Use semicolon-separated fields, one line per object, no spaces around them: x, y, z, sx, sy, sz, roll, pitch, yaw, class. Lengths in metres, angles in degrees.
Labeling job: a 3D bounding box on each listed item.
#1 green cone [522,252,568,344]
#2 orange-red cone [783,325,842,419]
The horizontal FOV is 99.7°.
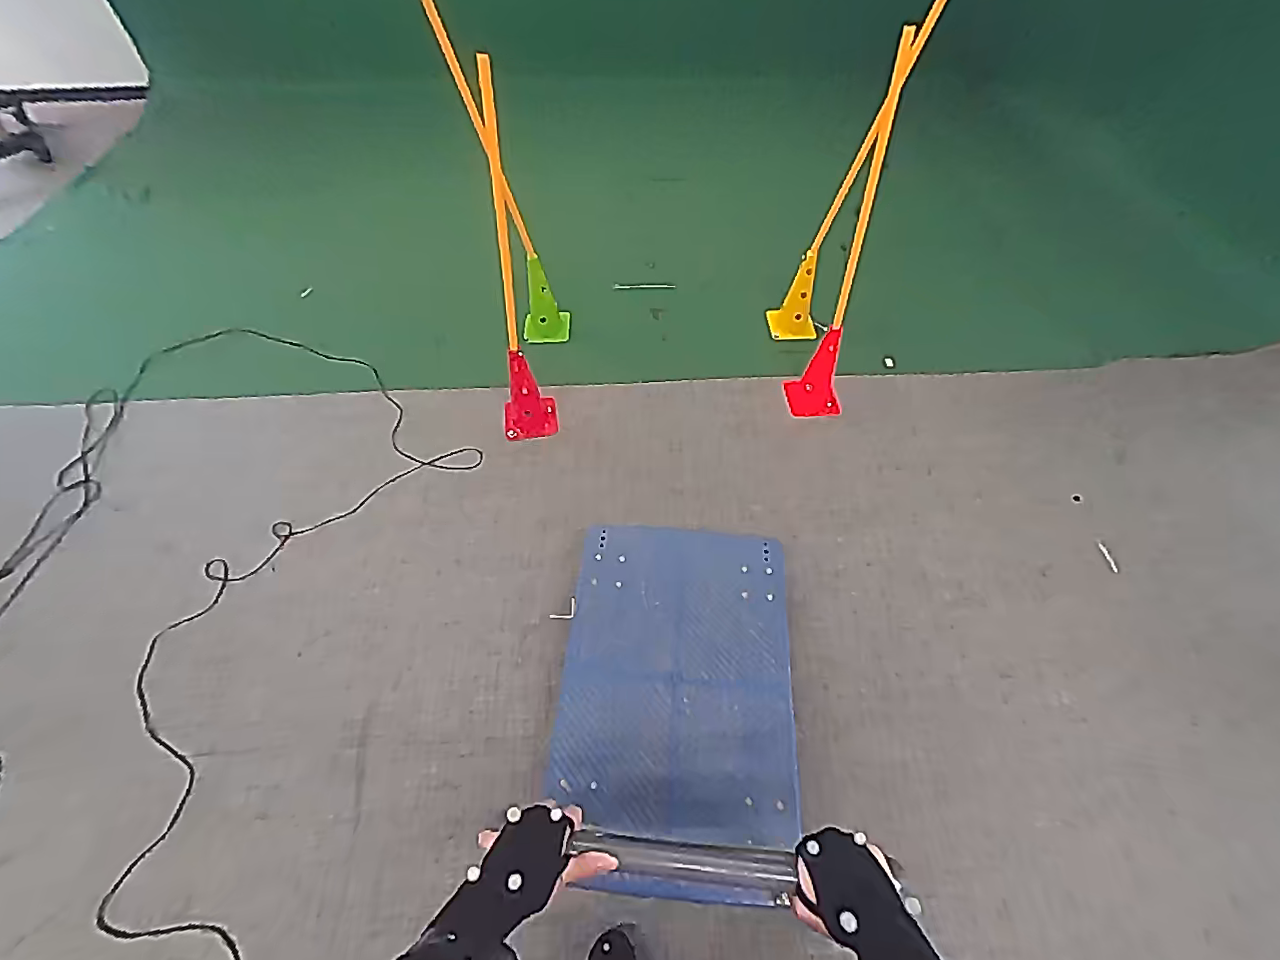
-0.425;-0.780;2.278;0.200;0.368;0.202;-2;53;-1;green cone
0.682;-0.423;2.025;0.198;0.360;0.199;-1;52;-2;orange-red cone
